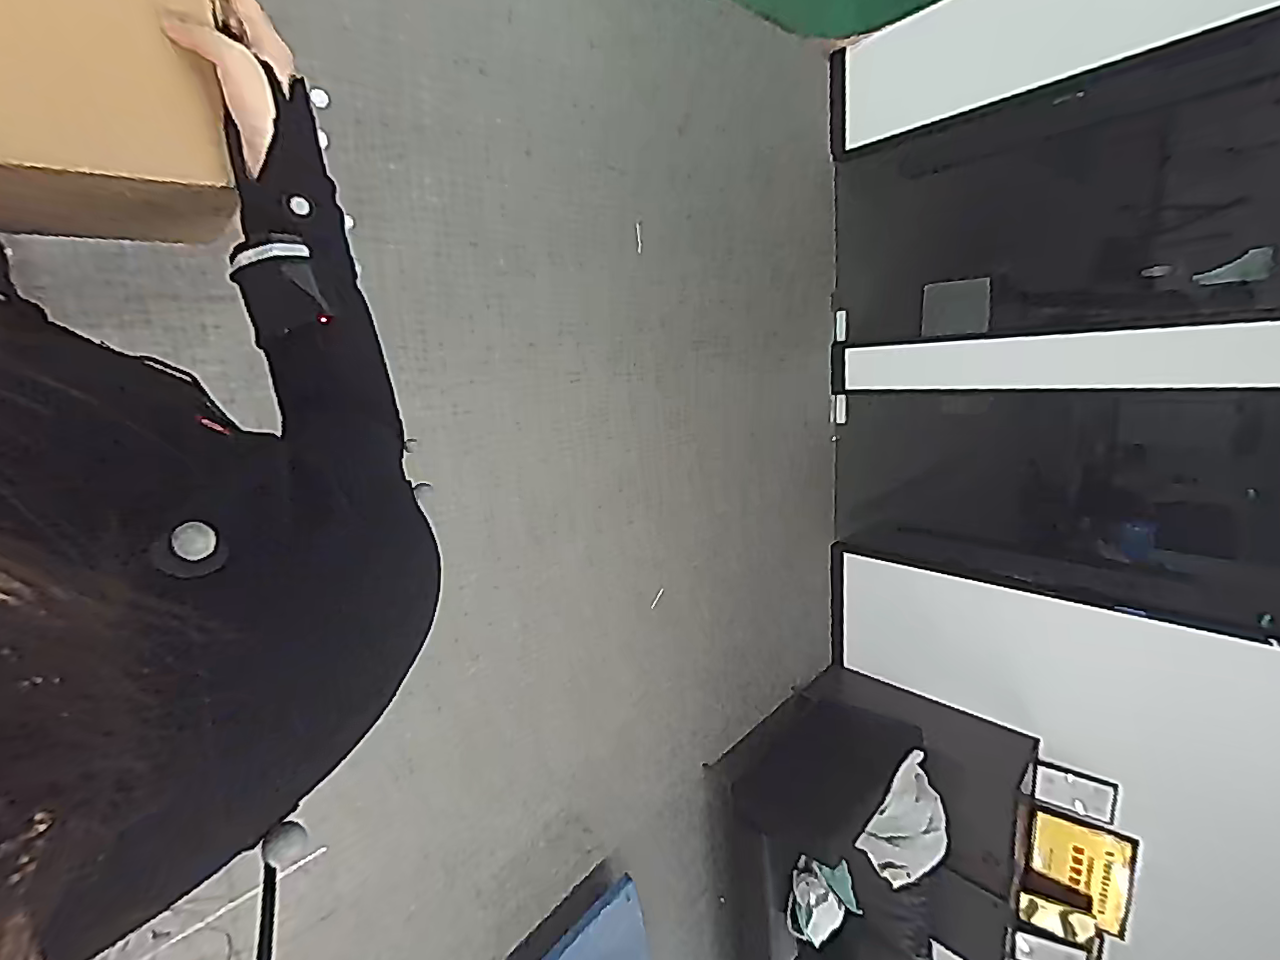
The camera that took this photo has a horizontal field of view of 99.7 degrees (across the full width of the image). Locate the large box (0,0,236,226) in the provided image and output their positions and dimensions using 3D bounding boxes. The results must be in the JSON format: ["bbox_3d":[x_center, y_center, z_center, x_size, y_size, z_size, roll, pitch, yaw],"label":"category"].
[{"bbox_3d":[-0.565,-0.367,0.367,0.408,0.320,0.320,-15,110,-38],"label":"large box"}]
